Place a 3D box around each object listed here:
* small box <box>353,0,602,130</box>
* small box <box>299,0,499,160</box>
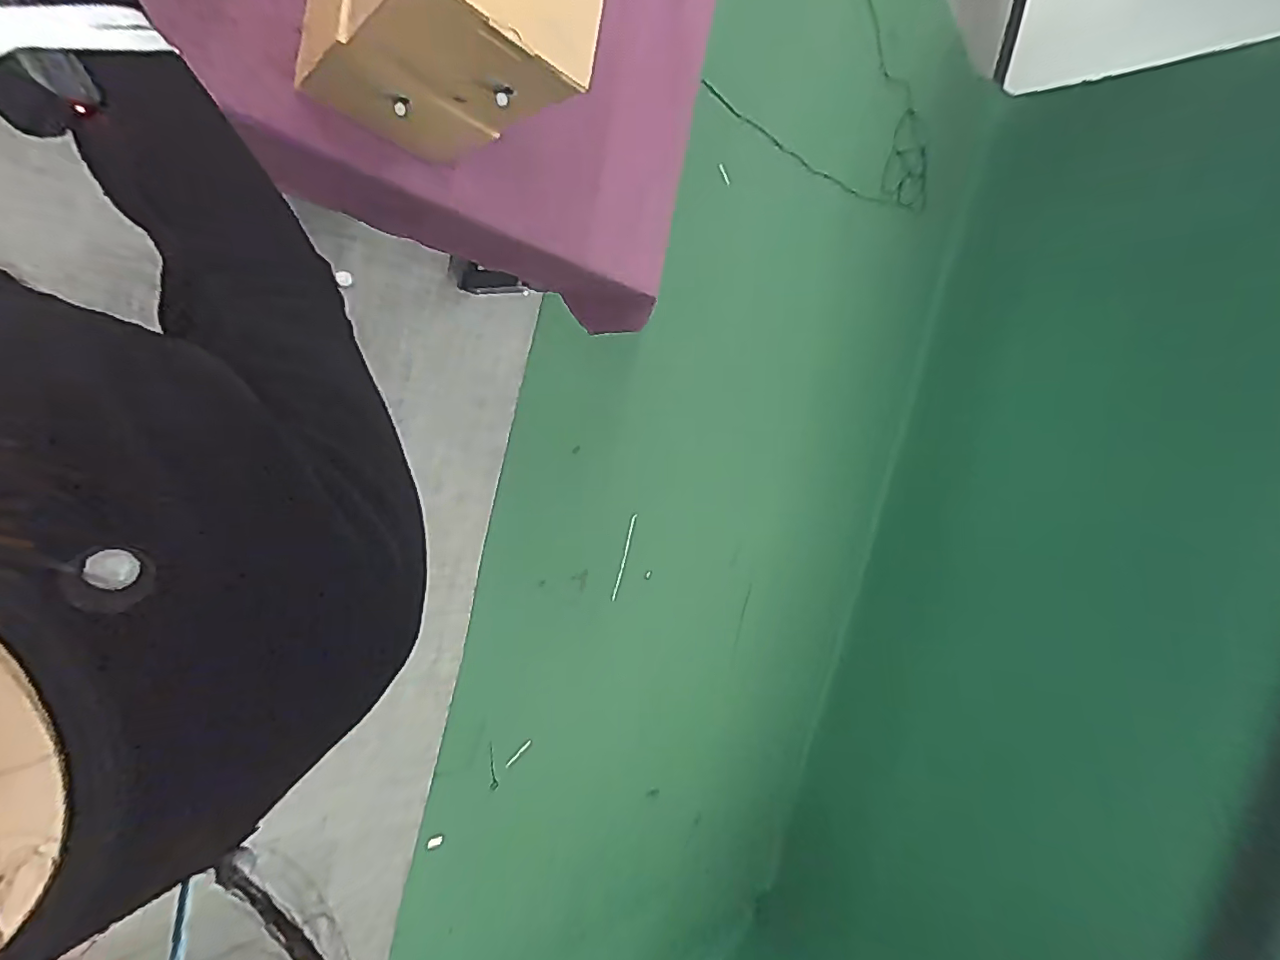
[{"bbox_3d":[-0.150,-0.467,0.505,0.168,0.176,0.179,4,99,-46],"label":"small box"},{"bbox_3d":[-0.265,-0.497,0.617,0.179,0.176,0.168,8,98,-46],"label":"small box"}]
